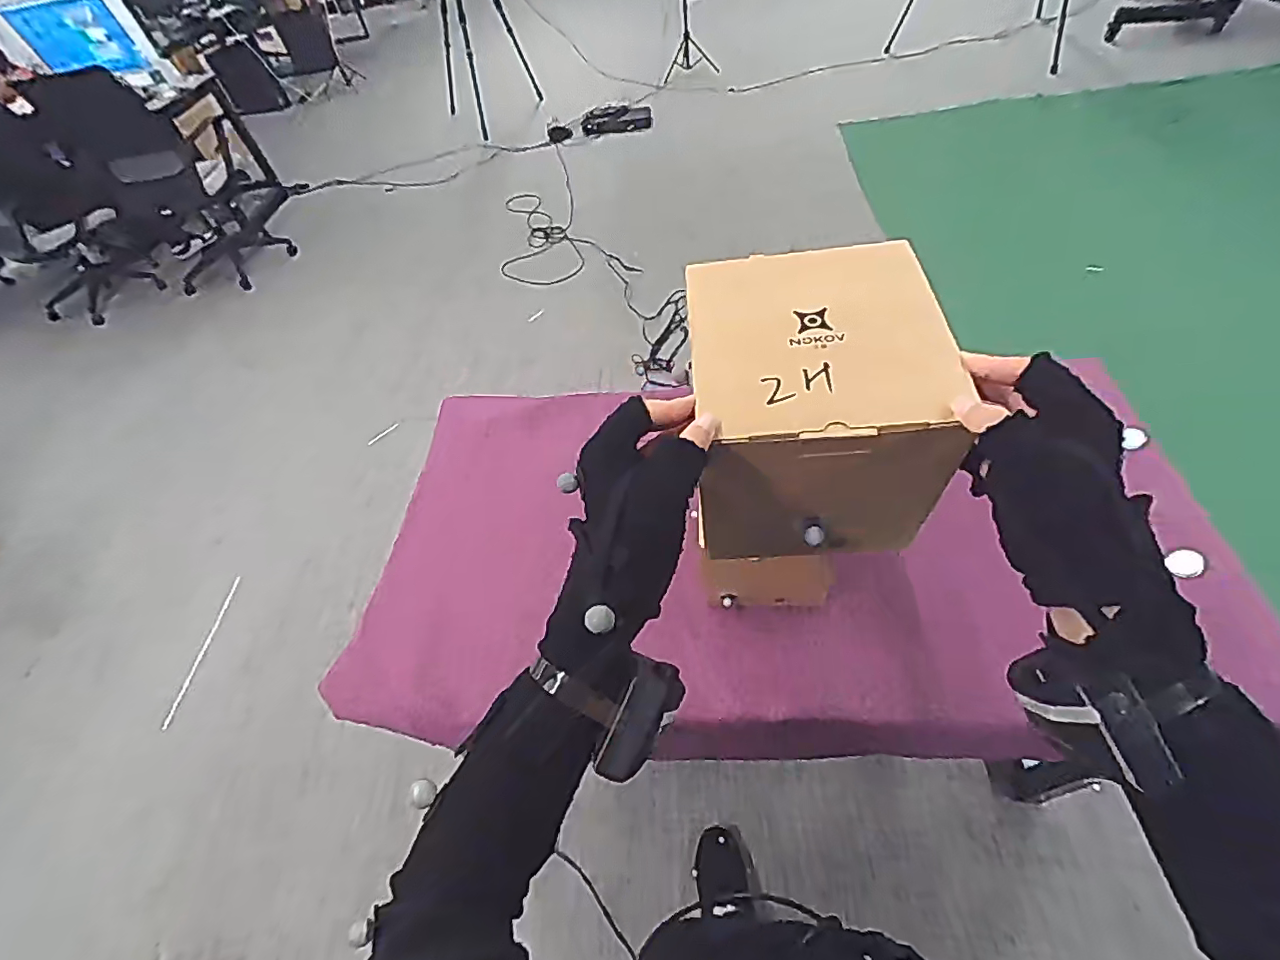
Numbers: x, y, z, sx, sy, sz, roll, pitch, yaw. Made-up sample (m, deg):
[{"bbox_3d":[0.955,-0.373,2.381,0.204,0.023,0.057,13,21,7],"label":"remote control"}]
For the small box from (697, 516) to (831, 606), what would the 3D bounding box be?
[{"bbox_3d":[0.169,0.065,0.756,0.168,0.176,0.179,-2,51,9],"label":"small box"}]

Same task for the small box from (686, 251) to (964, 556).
[{"bbox_3d":[0.124,-0.055,0.440,0.168,0.176,0.179,-4,56,7],"label":"small box"}]
